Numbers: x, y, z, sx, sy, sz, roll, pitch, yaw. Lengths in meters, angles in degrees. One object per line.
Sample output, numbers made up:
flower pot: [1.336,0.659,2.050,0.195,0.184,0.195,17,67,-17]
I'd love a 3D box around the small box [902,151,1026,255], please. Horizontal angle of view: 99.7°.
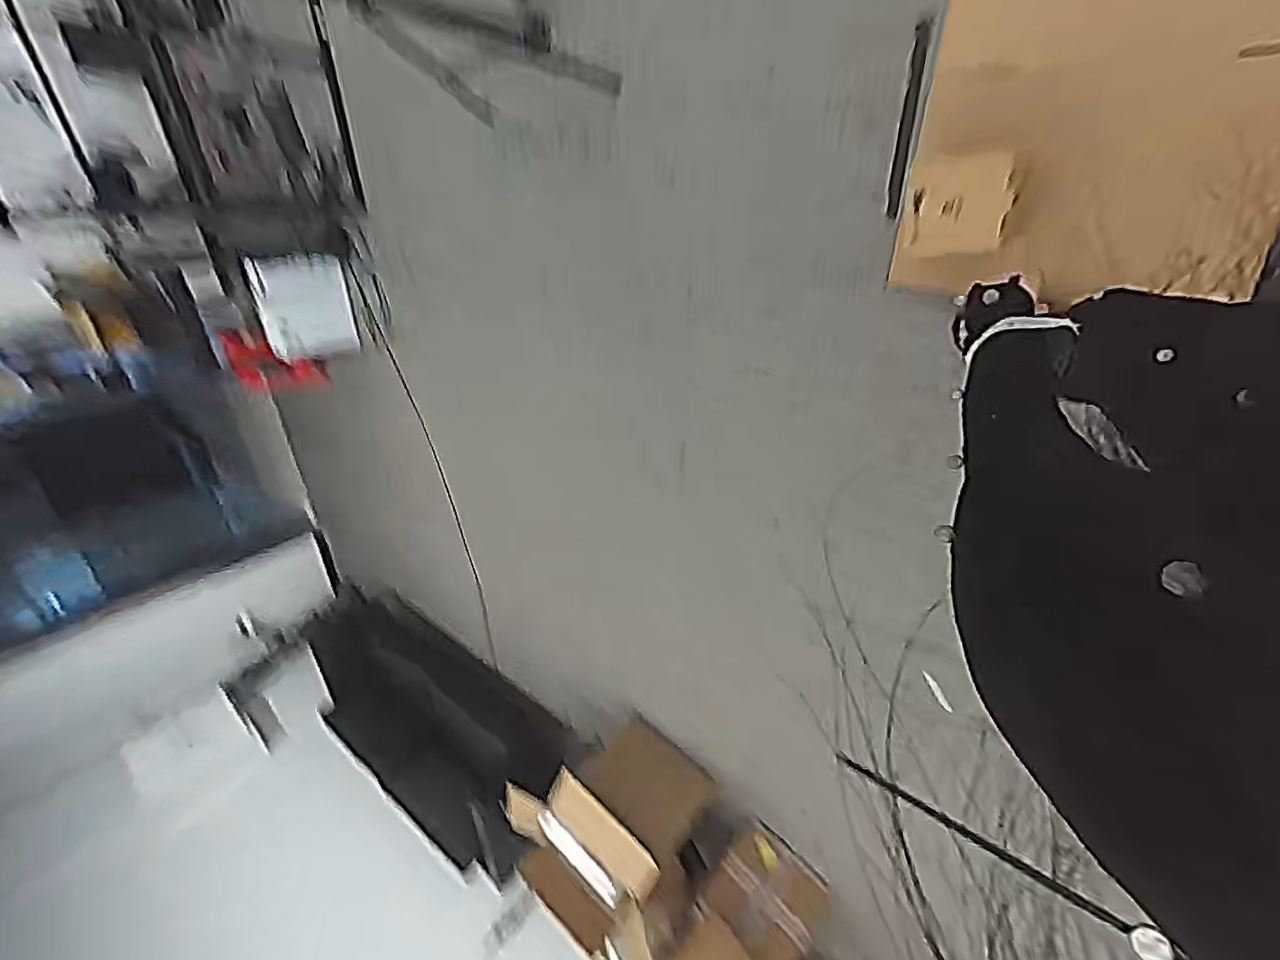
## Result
small box: [0.641,-0.547,1.071,0.179,0.176,0.168,13,122,37]
